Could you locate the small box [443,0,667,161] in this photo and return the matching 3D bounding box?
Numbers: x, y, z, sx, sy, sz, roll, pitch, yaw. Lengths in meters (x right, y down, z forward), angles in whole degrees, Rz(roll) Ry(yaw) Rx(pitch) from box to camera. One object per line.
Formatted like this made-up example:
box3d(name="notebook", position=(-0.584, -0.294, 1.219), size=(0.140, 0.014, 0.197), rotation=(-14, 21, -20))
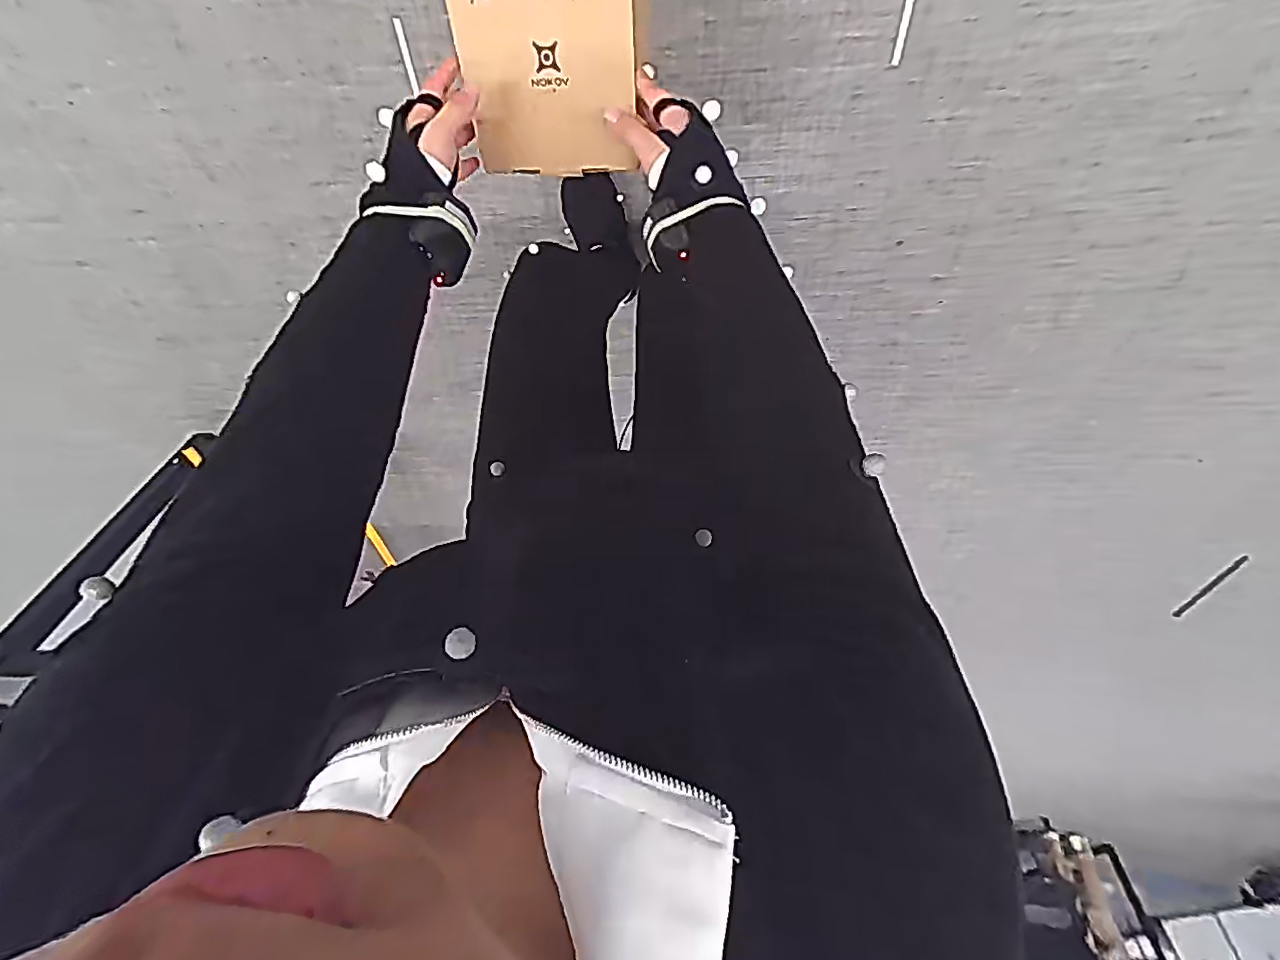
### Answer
box3d(name="small box", position=(-0.062, -0.405, 0.476), size=(0.168, 0.176, 0.179), rotation=(1, 136, 4))
